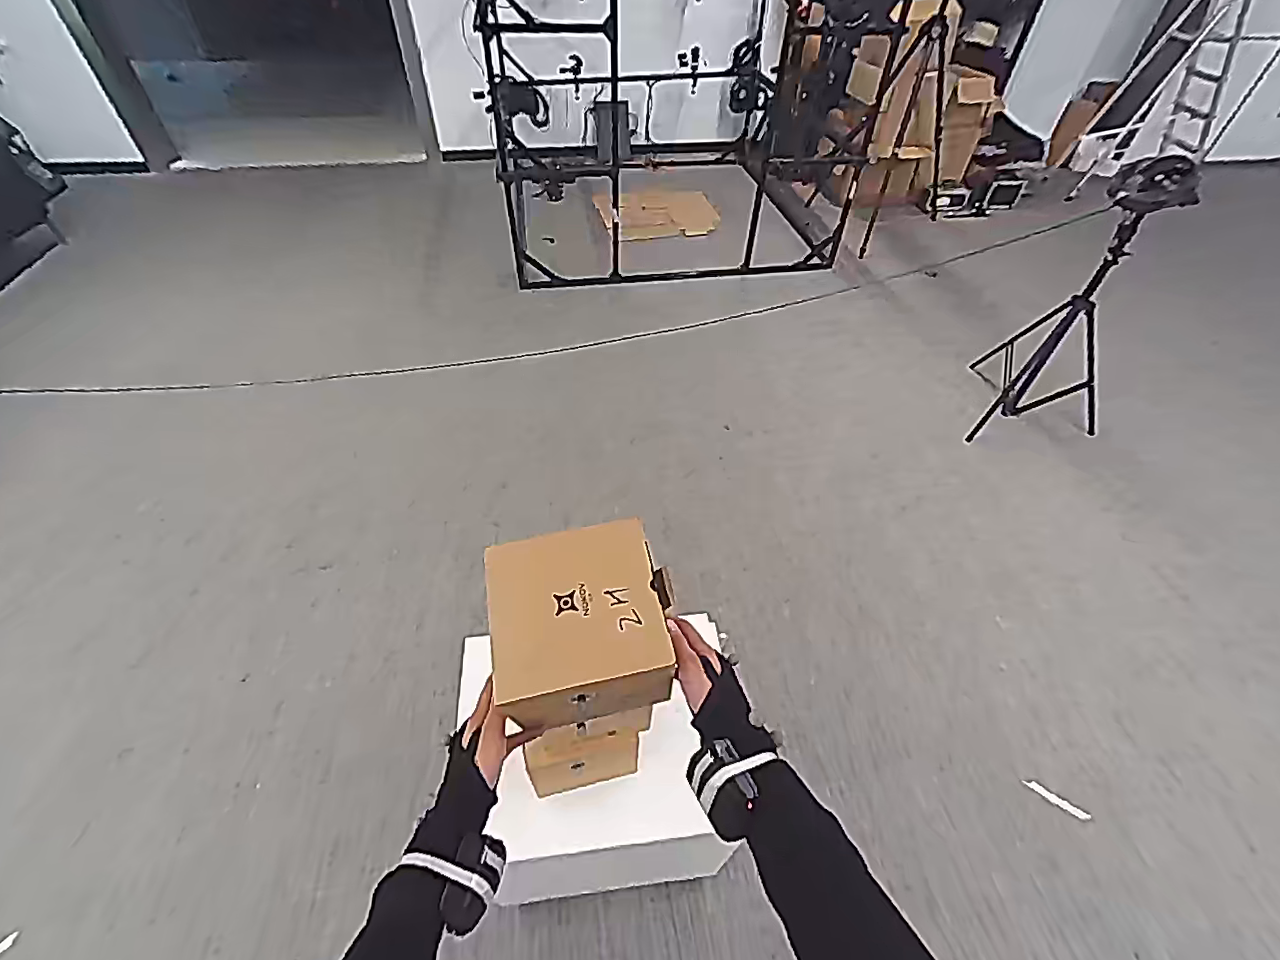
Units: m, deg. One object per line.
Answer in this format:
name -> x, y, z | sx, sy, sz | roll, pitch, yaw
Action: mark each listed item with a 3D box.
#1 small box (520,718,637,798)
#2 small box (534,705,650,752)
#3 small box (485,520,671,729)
small box -> -0.107, 0.417, 0.922 | 0.179, 0.176, 0.168 | -9, 48, -11
small box -> -0.081, 0.290, 0.819 | 0.168, 0.176, 0.179 | -9, 47, -10
small box -> -0.066, 0.171, 0.619 | 0.179, 0.176, 0.168 | -10, 57, -6
